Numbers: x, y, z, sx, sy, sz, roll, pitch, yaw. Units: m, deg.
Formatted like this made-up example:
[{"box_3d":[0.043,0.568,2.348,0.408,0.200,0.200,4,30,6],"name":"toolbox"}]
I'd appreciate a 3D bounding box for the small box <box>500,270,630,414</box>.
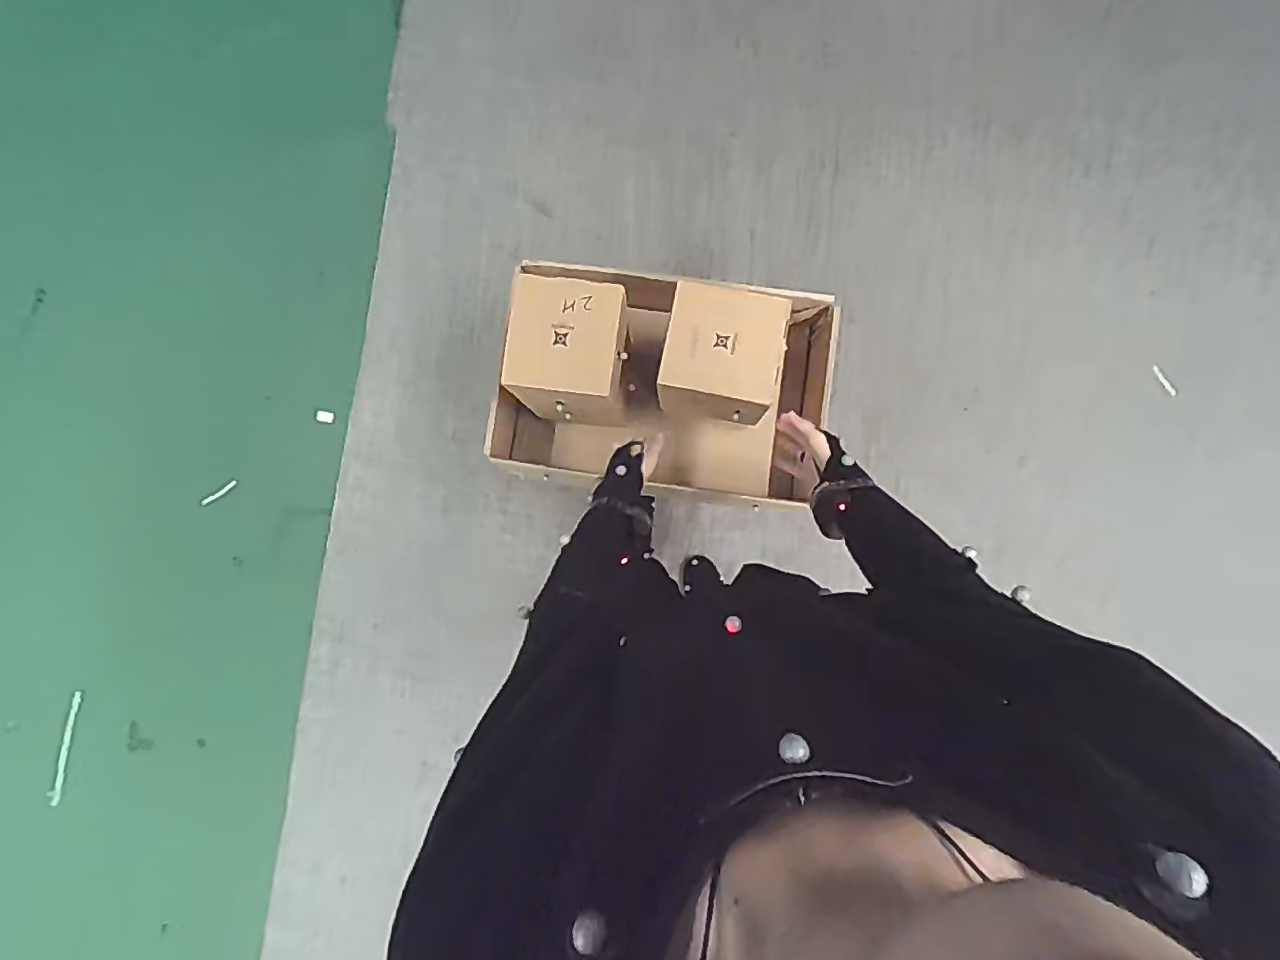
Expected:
[{"box_3d":[-0.111,-0.213,0.878,0.168,0.176,0.179,8,85,3],"name":"small box"}]
